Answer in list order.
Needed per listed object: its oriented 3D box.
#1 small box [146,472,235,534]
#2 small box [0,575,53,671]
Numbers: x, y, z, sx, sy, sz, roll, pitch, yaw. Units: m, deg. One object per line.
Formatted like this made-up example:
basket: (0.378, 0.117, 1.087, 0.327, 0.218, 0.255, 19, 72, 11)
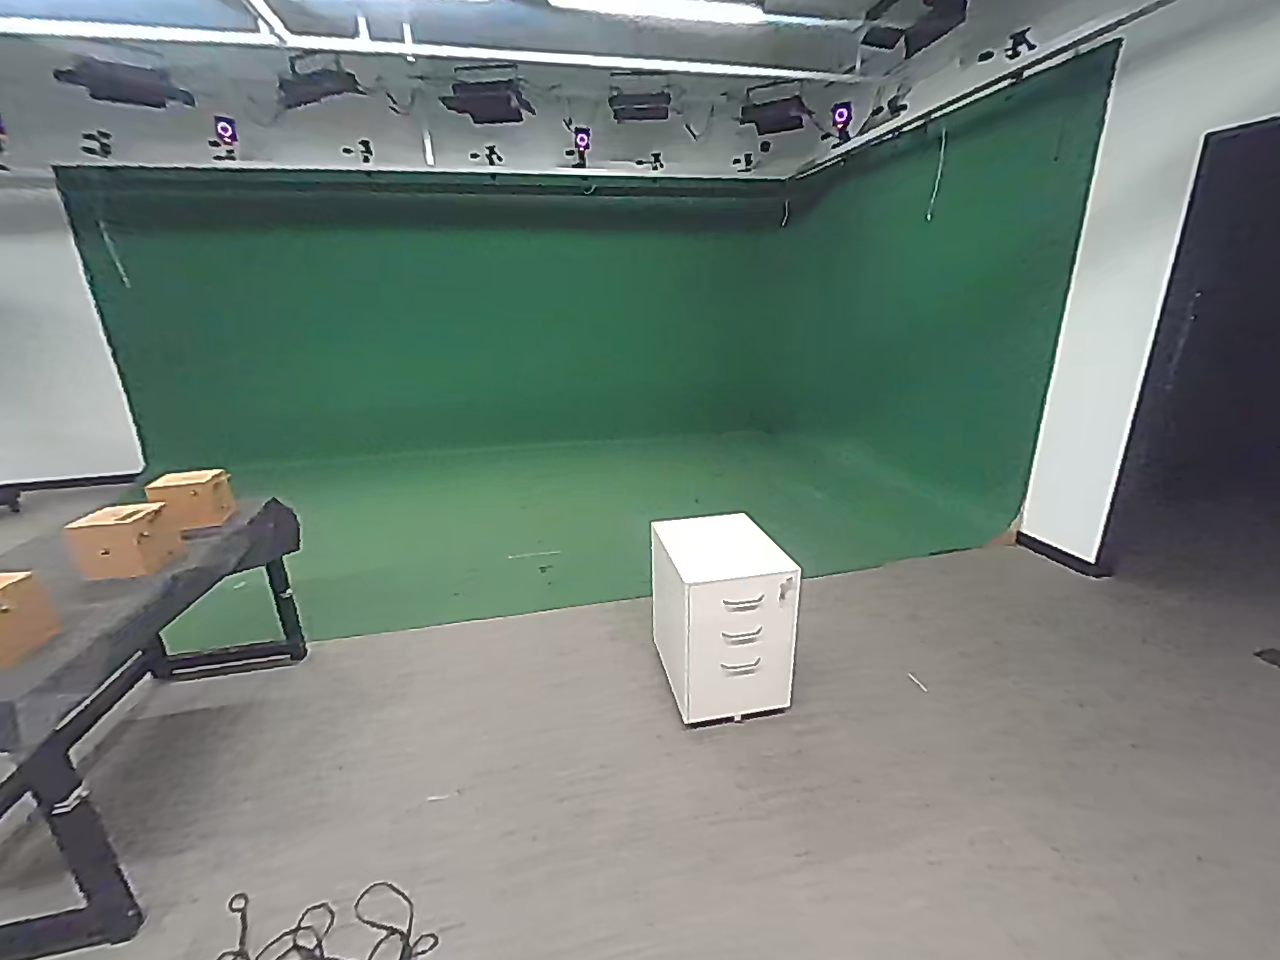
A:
small box: (-1.589, 0.082, 1.921, 0.179, 0.176, 0.168, -7, 19, -16)
small box: (-1.449, 0.324, 1.169, 0.168, 0.176, 0.179, -2, 17, -5)
